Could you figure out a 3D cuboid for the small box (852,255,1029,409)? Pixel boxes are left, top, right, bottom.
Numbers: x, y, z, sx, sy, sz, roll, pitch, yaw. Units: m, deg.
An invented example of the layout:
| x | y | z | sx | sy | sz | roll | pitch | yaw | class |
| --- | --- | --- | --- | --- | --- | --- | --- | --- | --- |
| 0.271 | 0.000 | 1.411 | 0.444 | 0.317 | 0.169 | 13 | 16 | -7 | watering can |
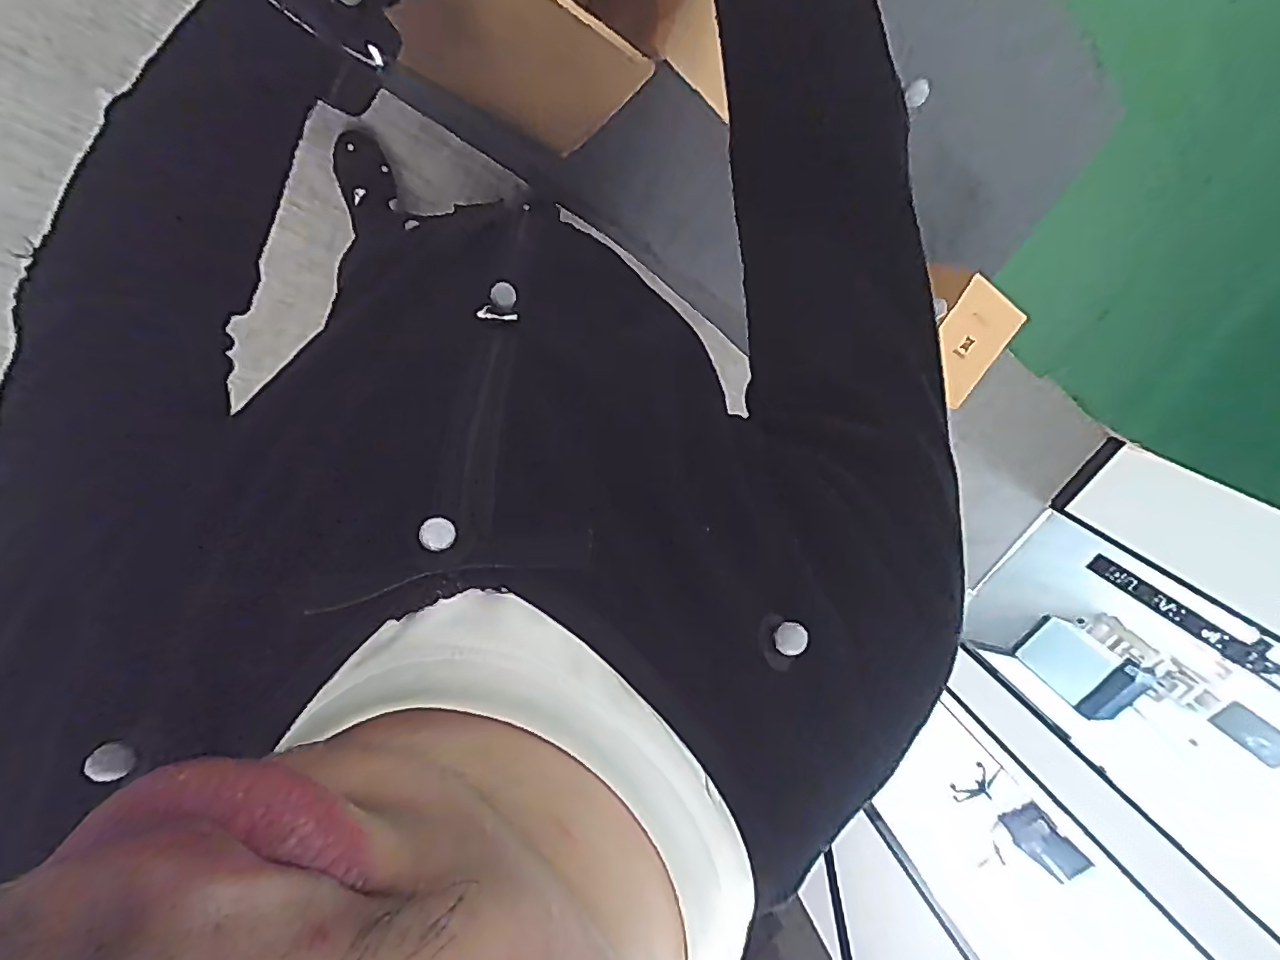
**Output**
| x | y | z | sx | sy | sz | roll | pitch | yaw | class |
| --- | --- | --- | --- | --- | --- | --- | --- | --- | --- |
| 0.494 | -0.253 | 0.918 | 0.168 | 0.176 | 0.179 | 17 | 112 | -32 | small box |
